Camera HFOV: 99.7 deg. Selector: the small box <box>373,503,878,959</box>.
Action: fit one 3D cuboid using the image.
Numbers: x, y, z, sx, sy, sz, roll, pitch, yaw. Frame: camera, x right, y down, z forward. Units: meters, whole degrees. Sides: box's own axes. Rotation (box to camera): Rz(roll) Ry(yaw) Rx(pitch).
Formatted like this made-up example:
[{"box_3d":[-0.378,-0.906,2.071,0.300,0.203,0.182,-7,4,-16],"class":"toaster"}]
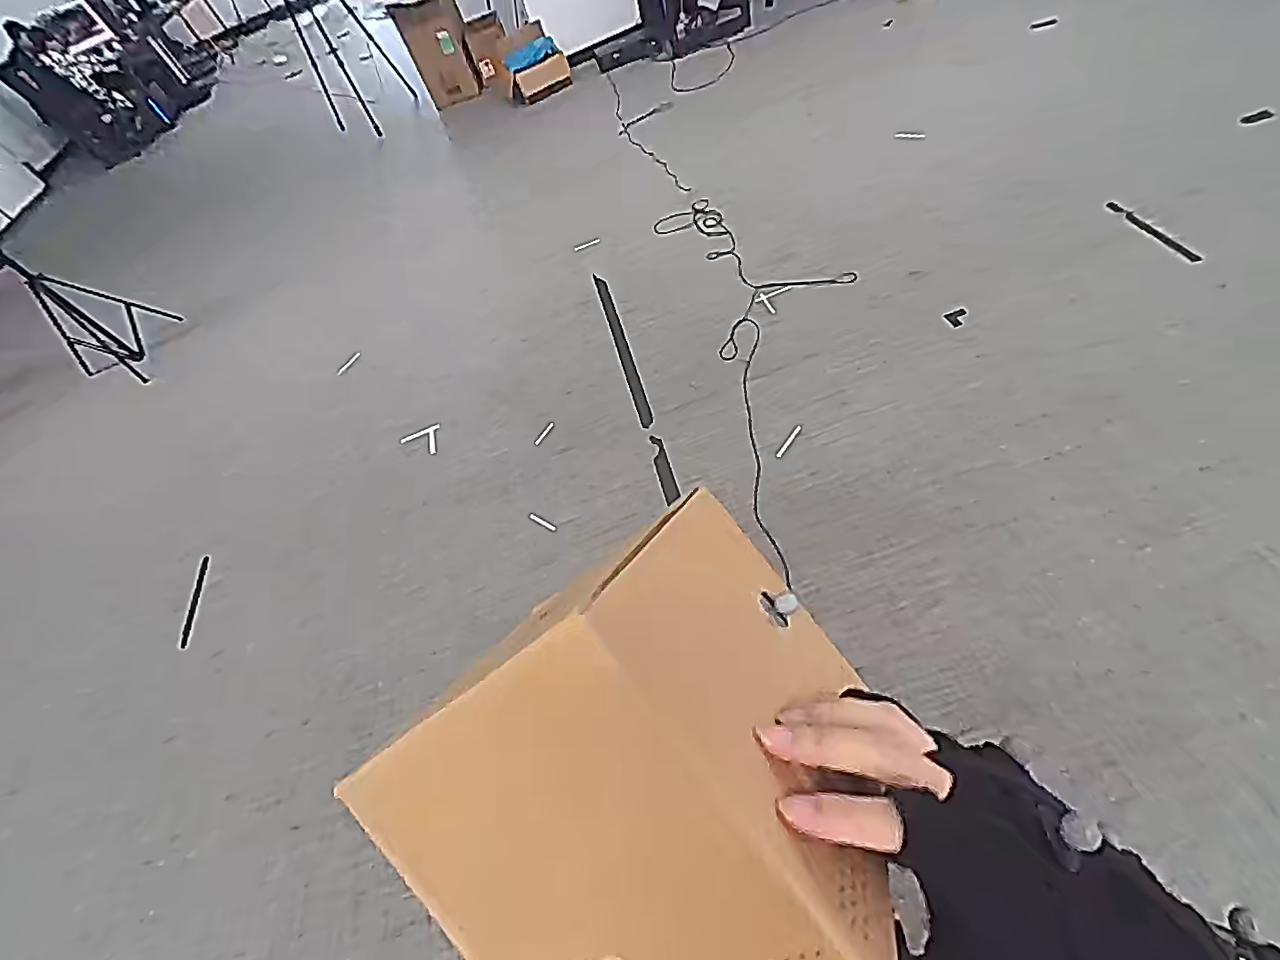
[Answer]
[{"box_3d":[0.007,0.143,0.299,0.168,0.179,0.176,-40,88,24],"class":"small box"}]
